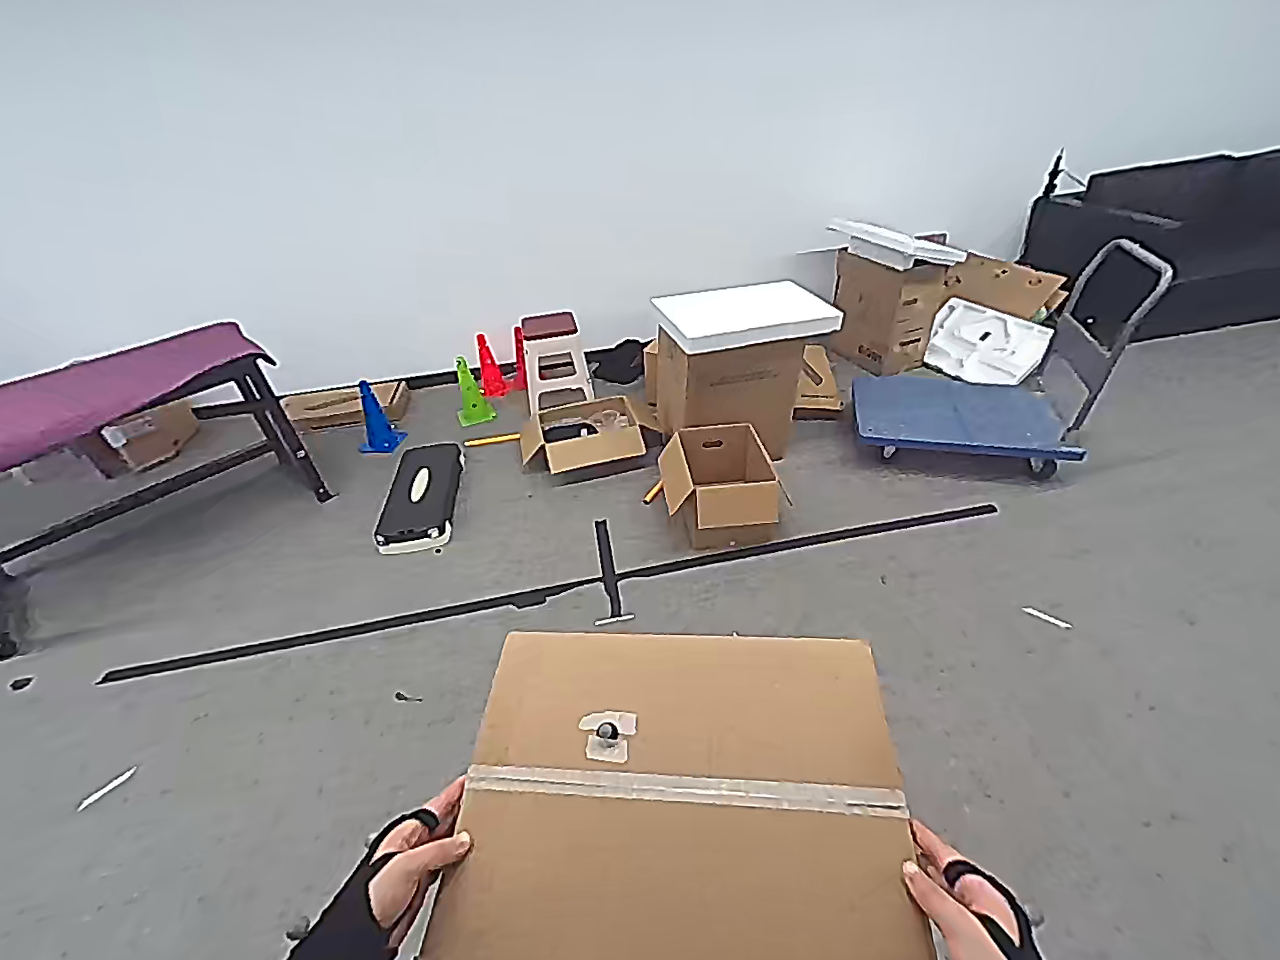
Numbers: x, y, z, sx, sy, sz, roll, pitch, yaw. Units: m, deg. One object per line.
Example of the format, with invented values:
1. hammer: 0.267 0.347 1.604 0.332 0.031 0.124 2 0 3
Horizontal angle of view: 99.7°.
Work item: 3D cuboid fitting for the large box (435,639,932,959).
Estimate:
1. large box: 0.056 0.397 0.619 0.408 0.320 0.320 -3 45 9
